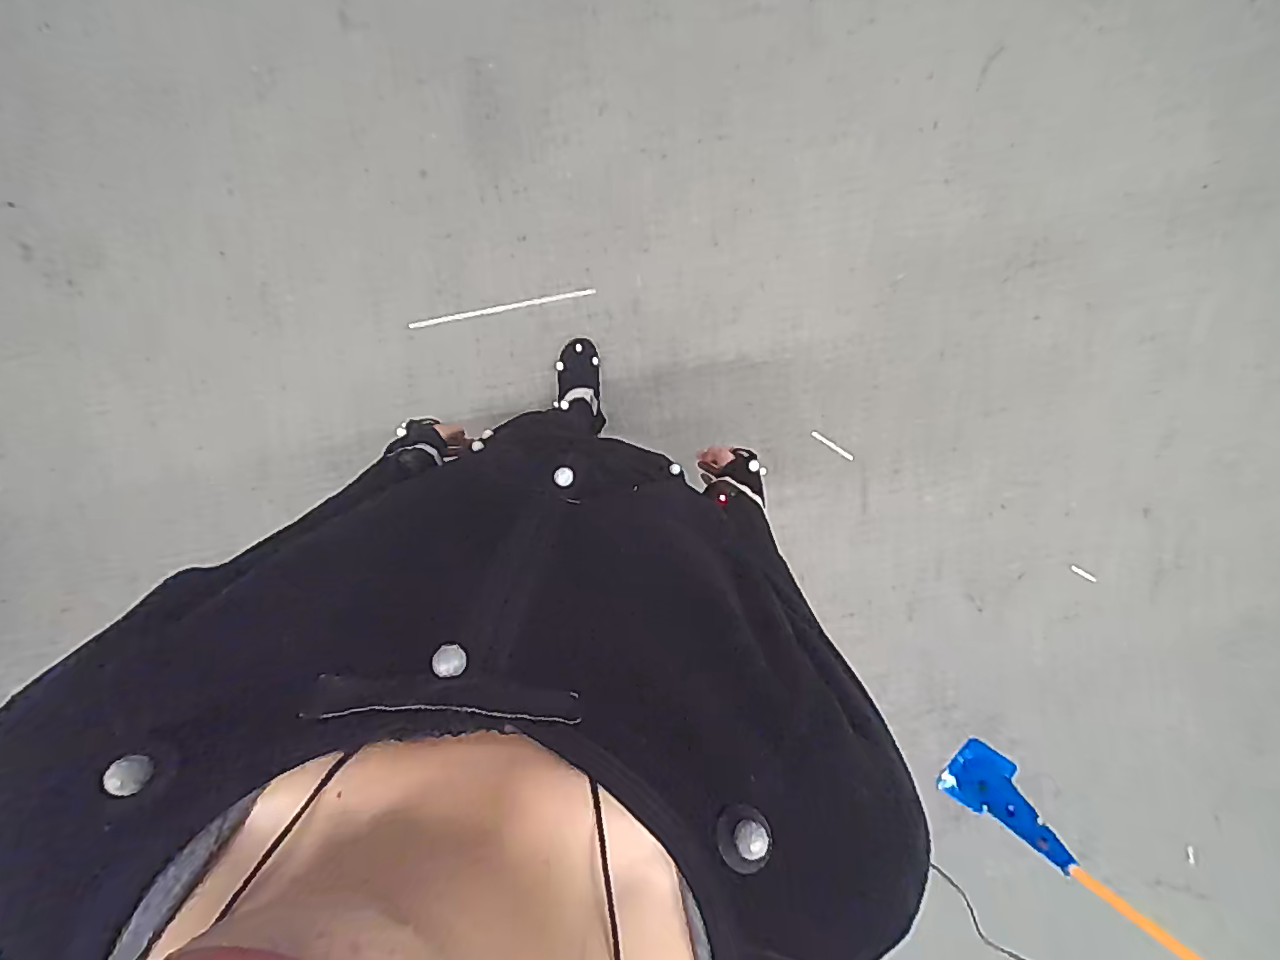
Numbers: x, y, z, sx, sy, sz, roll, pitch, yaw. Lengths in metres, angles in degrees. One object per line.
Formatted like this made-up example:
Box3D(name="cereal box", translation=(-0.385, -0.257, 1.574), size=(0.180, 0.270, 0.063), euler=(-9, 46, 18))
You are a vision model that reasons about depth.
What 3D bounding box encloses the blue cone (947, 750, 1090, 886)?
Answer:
Box3D(name="blue cone", translation=(1.071, 0.960, 1.513), size=(0.192, 0.380, 0.193), euler=(33, 92, -6))
